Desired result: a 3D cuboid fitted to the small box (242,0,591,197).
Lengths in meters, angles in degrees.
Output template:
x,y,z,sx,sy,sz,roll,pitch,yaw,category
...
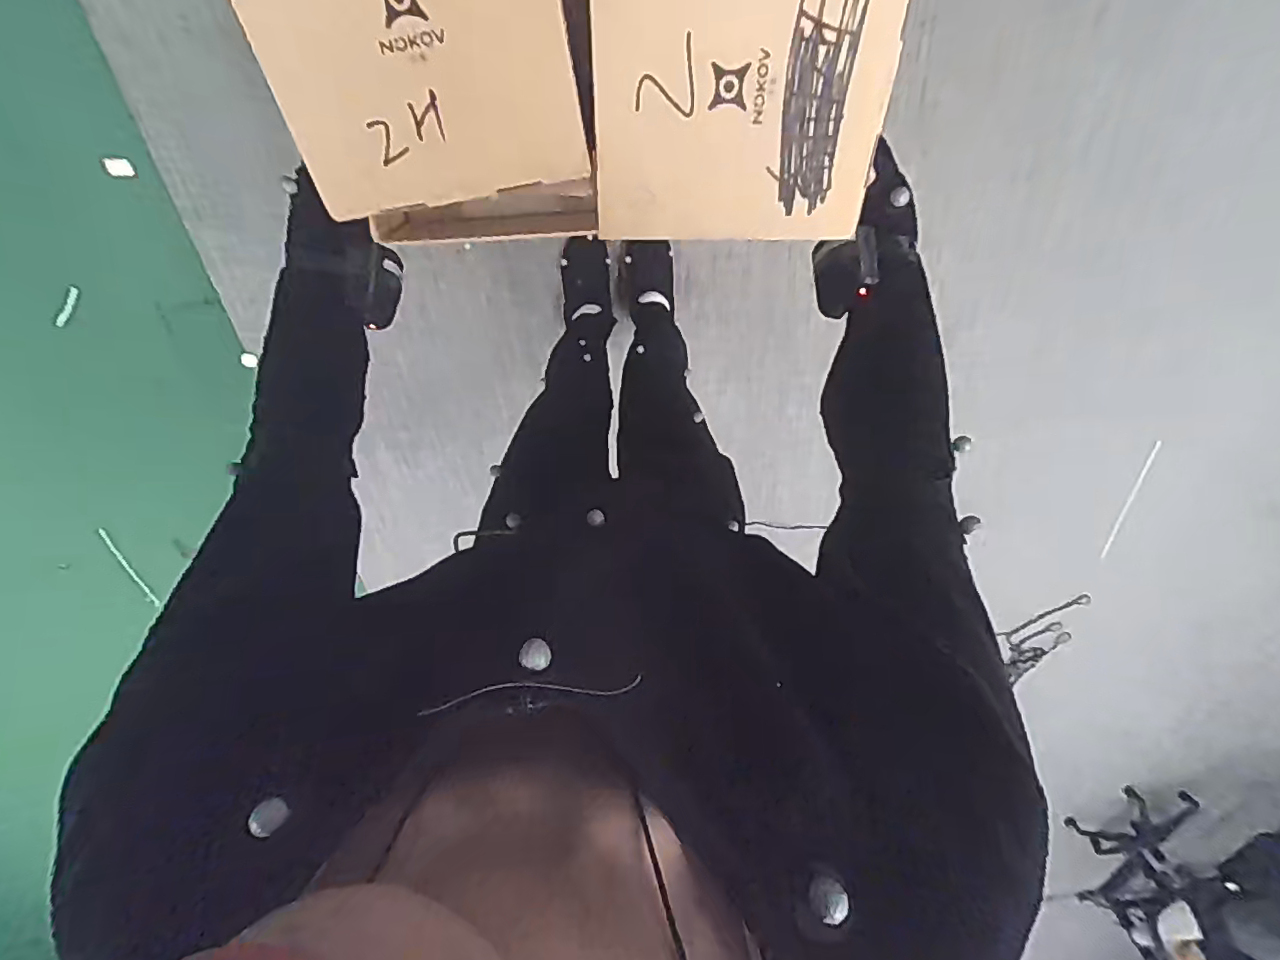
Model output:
x,y,z,sx,sy,sz,roll,pitch,yaw,category
-0.127,-0.300,0.344,0.168,0.176,0.179,-9,127,2,small box
